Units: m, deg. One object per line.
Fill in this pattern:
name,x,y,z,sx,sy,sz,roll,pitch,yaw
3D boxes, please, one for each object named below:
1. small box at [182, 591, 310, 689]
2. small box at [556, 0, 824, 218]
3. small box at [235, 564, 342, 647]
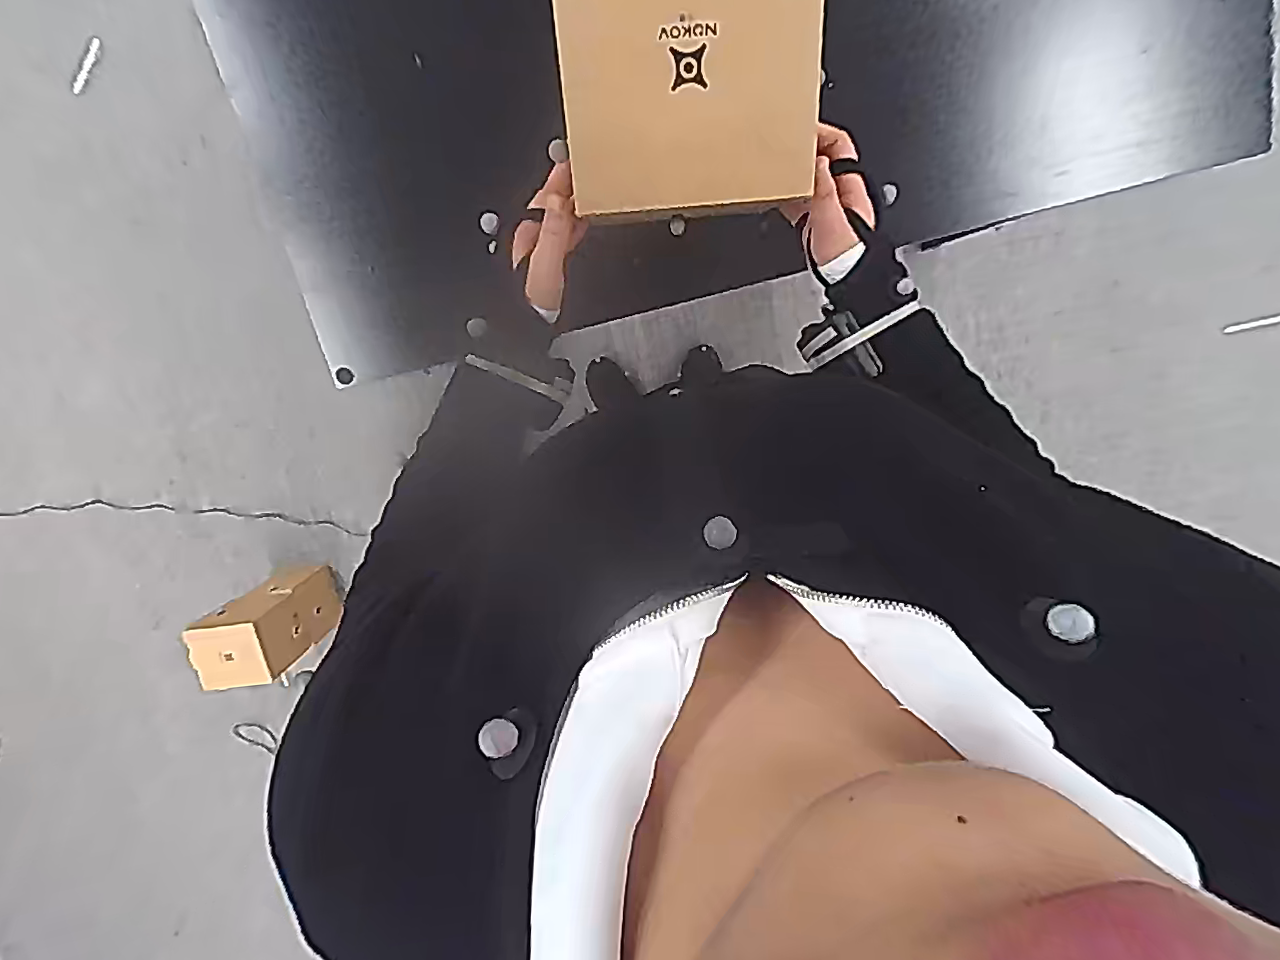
small box,-0.979,0.395,1.359,0.179,0.176,0.168,-8,104,1
small box,0.031,-0.301,0.412,0.168,0.176,0.179,-4,113,1
small box,-0.976,0.359,1.518,0.168,0.176,0.179,-12,104,3
